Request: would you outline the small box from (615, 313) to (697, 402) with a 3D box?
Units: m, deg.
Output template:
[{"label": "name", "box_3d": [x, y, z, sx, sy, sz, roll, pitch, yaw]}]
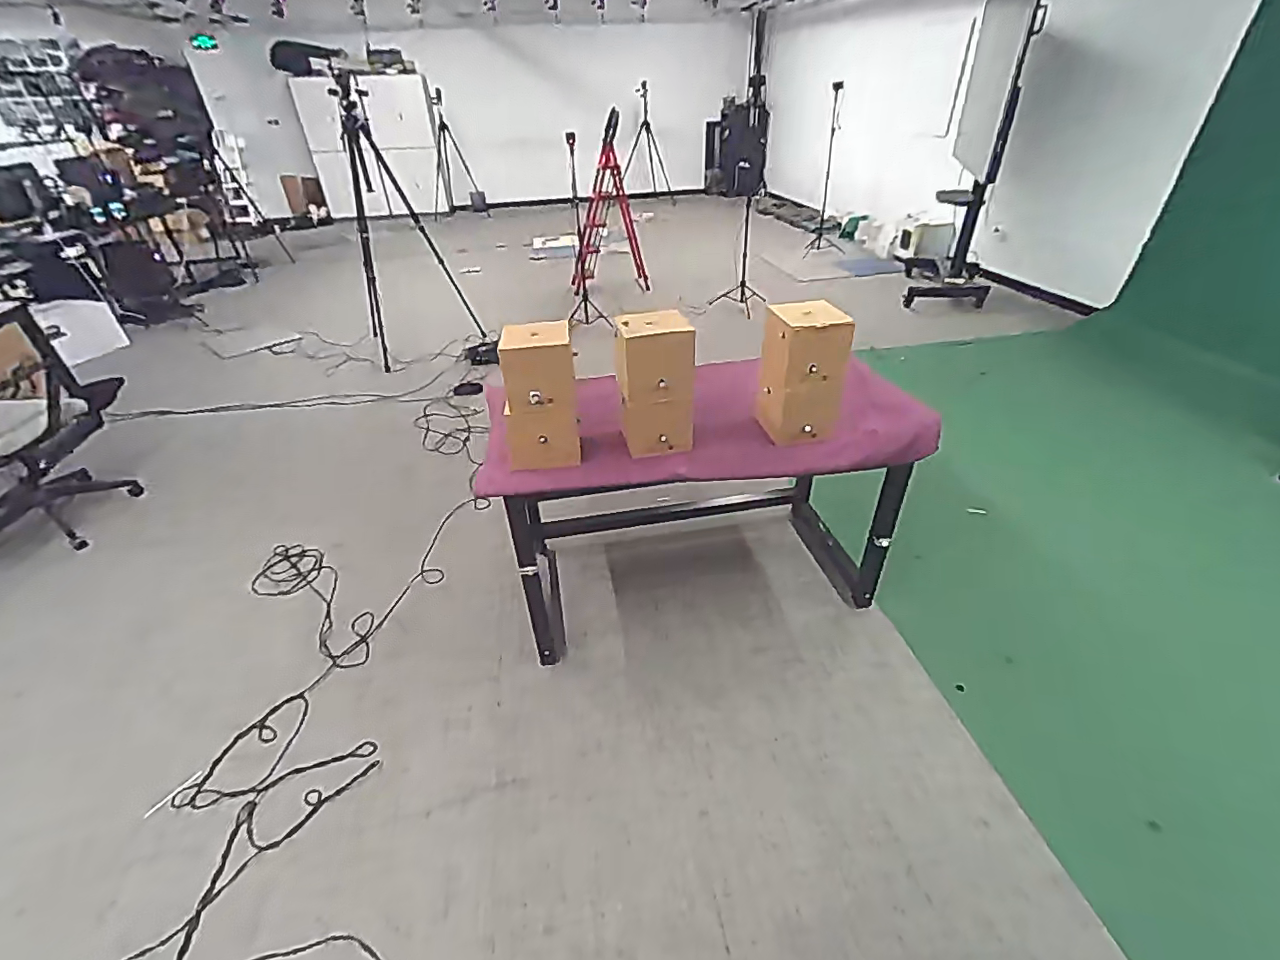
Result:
[{"label": "small box", "box_3d": [0.036, -0.312, 1.377, 0.179, 0.176, 0.168, -8, 34, -9]}]

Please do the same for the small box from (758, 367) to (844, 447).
[{"label": "small box", "box_3d": [0.435, -0.211, 1.501, 0.168, 0.176, 0.179, -8, 36, -7]}]

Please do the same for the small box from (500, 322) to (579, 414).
[{"label": "small box", "box_3d": [-0.245, -0.279, 1.347, 0.168, 0.176, 0.179, -7, 35, -5]}]

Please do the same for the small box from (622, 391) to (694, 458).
[{"label": "small box", "box_3d": [0.043, -0.178, 1.472, 0.168, 0.176, 0.179, -9, 35, -8]}]

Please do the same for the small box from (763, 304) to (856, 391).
[{"label": "small box", "box_3d": [0.431, -0.346, 1.411, 0.168, 0.176, 0.179, -8, 36, -8]}]
